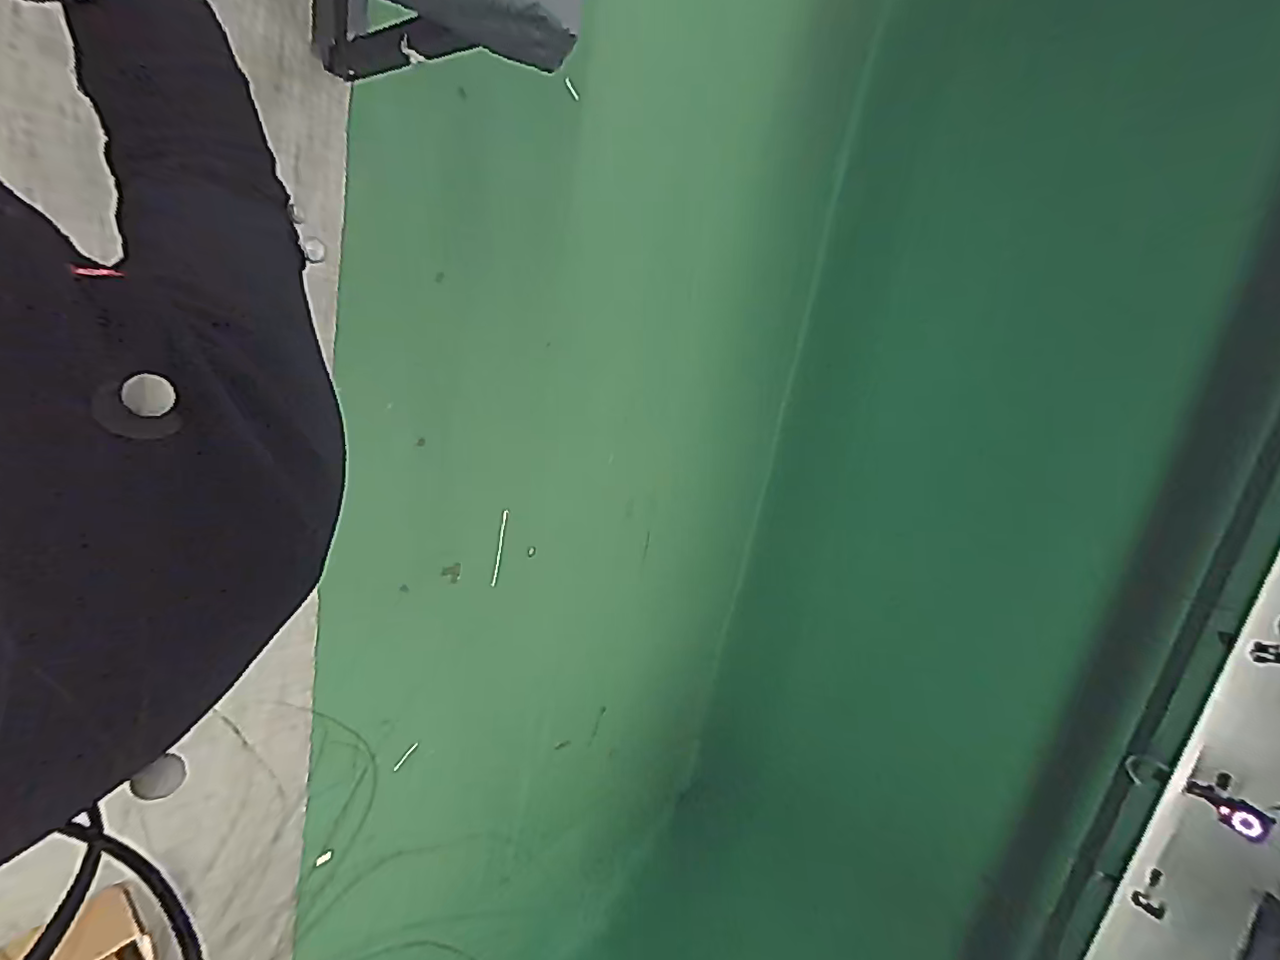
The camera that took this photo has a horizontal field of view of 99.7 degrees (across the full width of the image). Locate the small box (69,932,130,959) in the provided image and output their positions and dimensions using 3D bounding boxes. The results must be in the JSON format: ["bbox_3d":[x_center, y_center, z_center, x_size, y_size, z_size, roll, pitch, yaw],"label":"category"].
[{"bbox_3d":[-1.308,1.239,1.270,0.179,0.176,0.168,-19,123,-48],"label":"small box"}]
